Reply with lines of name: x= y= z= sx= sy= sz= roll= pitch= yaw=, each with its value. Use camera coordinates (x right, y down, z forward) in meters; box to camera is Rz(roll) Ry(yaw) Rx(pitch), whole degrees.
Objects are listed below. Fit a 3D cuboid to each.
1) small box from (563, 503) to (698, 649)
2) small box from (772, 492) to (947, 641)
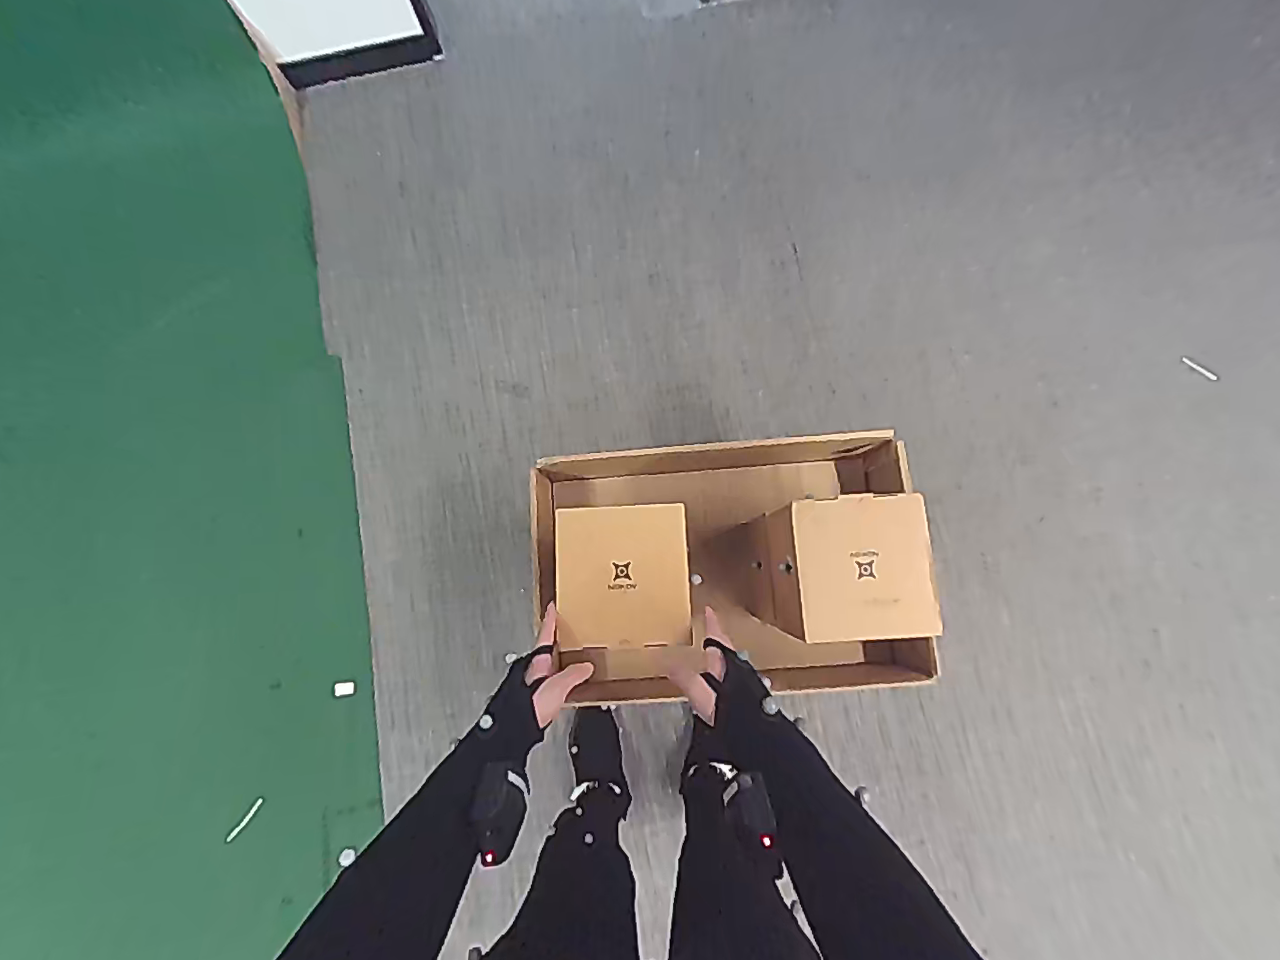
small box: x=-0.013 y=0.133 z=0.746 sx=0.168 sy=0.176 sz=0.179 roll=-3 pitch=79 yaw=1
small box: x=0.281 y=0.118 z=0.735 sx=0.168 sy=0.176 sz=0.179 roll=-4 pitch=80 yaw=2
